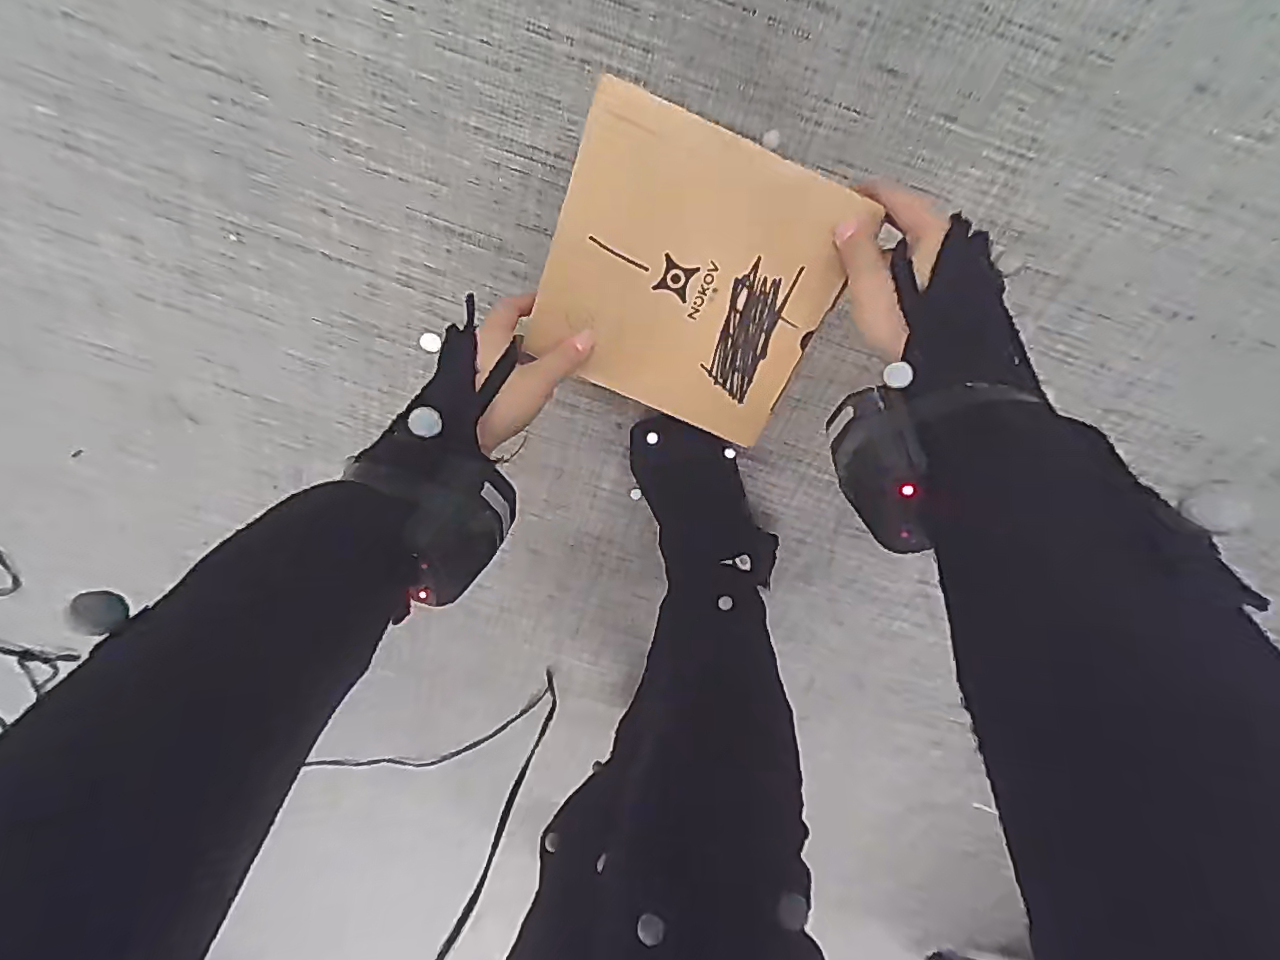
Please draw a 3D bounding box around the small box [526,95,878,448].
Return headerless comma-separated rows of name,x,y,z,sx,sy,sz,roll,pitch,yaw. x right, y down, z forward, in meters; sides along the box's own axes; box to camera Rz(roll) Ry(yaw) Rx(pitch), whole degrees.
small box,0.039,-0.156,0.411,0.179,0.176,0.168,23,119,-5
